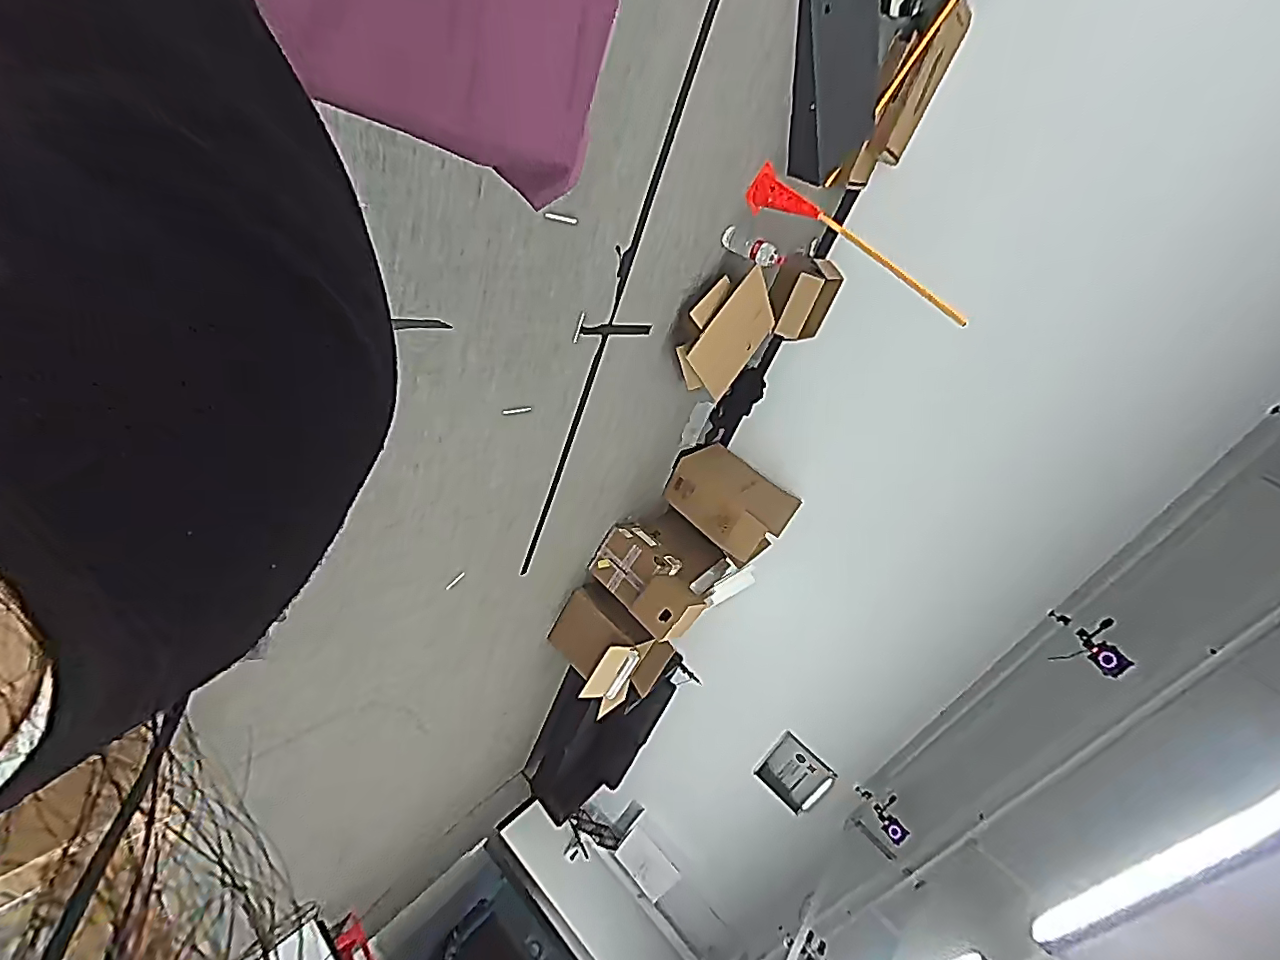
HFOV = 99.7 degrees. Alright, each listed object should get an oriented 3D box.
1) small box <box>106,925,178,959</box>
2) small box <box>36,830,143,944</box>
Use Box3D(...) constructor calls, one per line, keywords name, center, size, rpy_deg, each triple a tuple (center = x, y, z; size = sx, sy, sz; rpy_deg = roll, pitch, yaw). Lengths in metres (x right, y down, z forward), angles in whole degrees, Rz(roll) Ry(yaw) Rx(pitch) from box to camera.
Box3D(name="small box", center=(-1.355, 1.358, 1.440), size=(0.179, 0.176, 0.168), rpy_deg=(-17, 139, -53))
Box3D(name="small box", center=(-1.593, 1.171, 1.568), size=(0.179, 0.176, 0.168), rpy_deg=(-20, 140, -49))
